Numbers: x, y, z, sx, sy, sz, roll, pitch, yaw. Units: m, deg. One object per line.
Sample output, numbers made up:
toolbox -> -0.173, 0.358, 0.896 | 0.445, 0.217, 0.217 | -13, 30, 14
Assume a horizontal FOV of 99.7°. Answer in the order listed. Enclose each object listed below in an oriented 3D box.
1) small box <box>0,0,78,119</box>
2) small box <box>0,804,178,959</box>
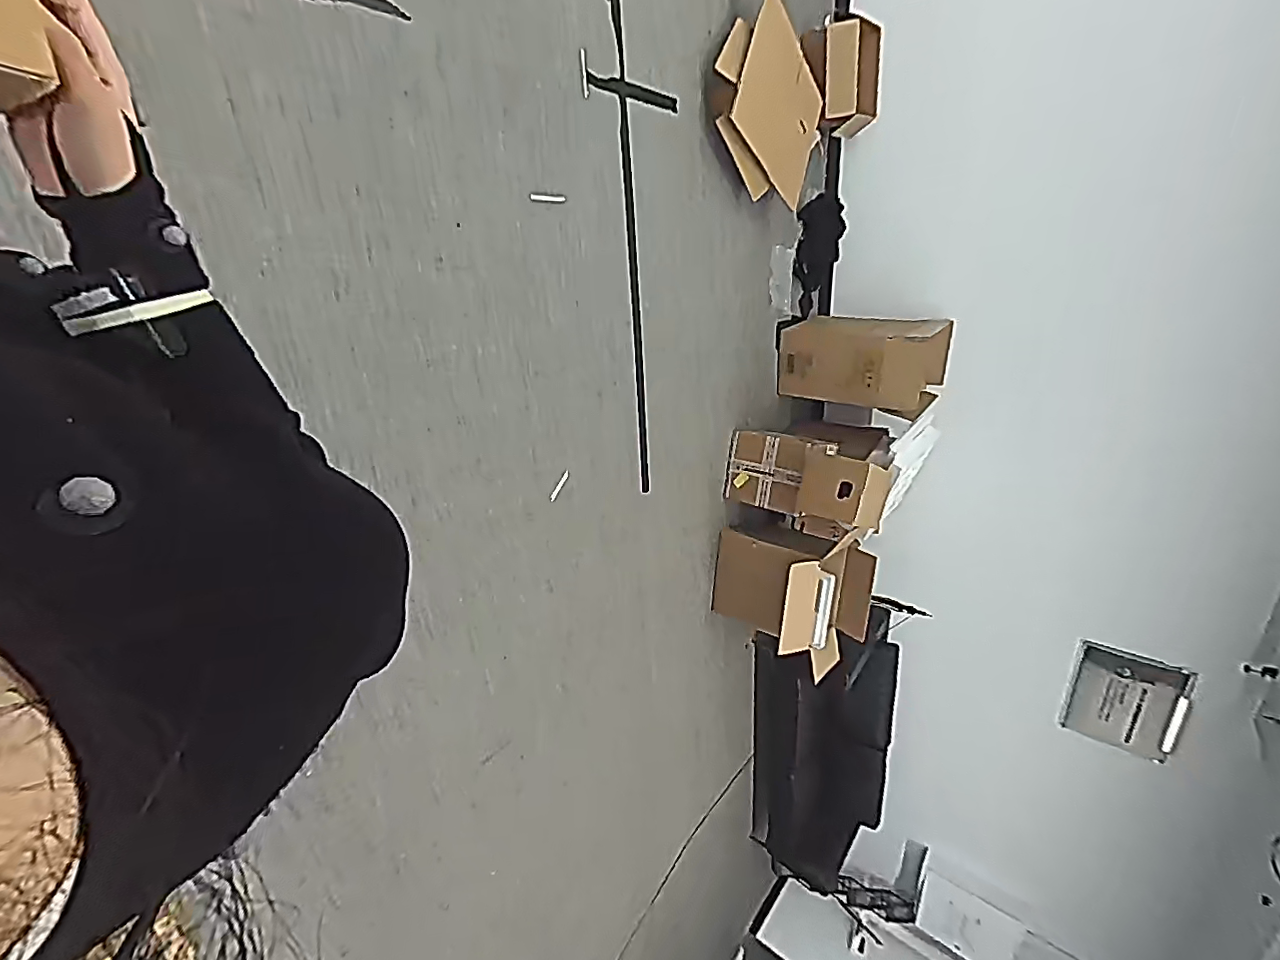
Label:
small box -> -0.381, -0.269, 0.212 | 0.168, 0.176, 0.179 | -24, 123, -54
small box -> -0.931, 0.697, 0.906 | 0.179, 0.176, 0.168 | -27, 120, -44
